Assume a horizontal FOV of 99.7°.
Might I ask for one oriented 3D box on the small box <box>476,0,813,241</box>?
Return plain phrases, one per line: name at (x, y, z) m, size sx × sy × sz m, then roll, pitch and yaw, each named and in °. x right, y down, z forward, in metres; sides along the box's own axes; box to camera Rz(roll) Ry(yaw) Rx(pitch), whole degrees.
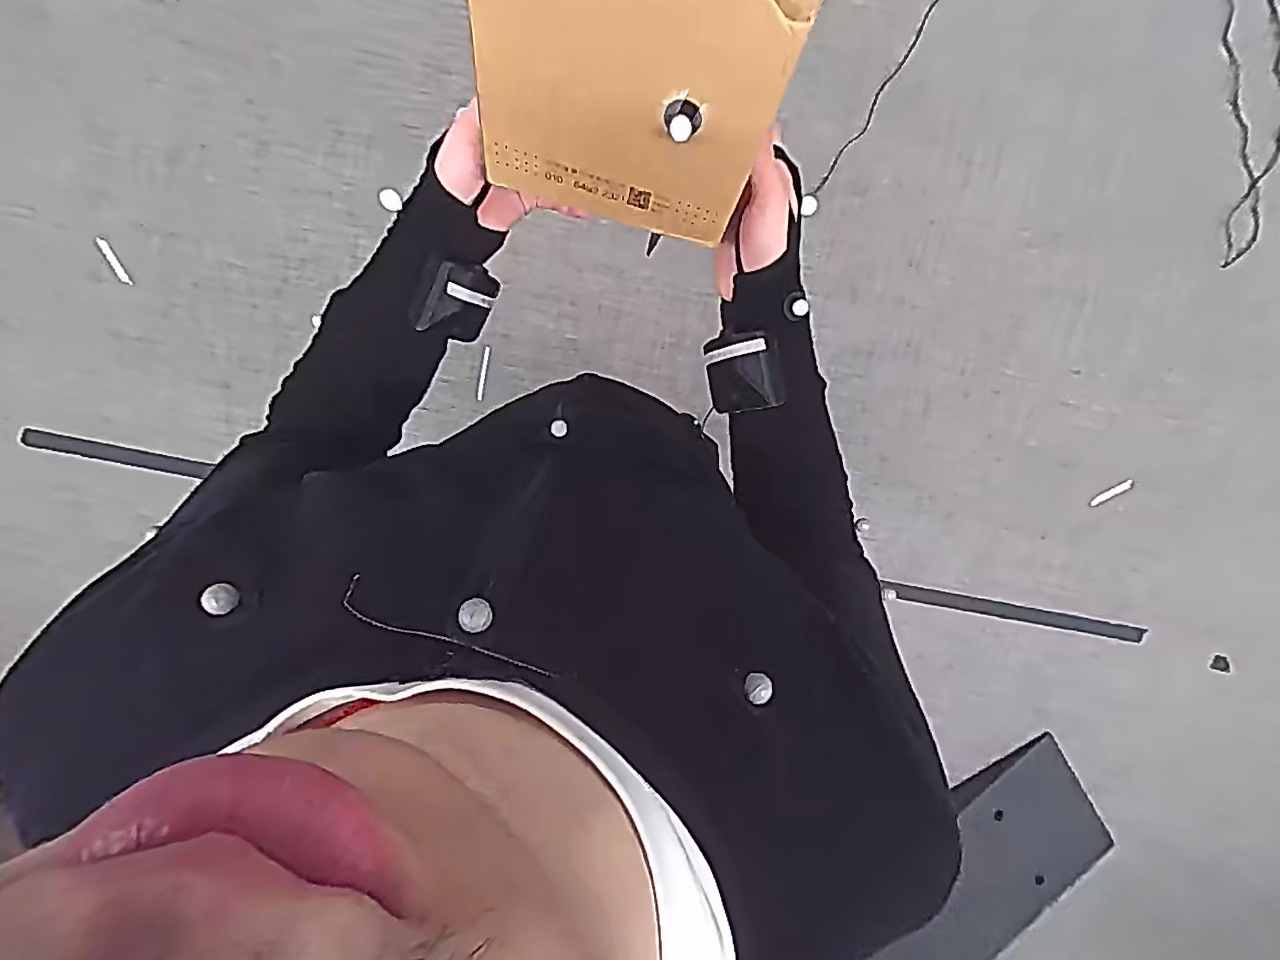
small box at (0.005, -0.288, 0.338) m, size 0.168 × 0.176 × 0.179 m, roll 15°, pitch 70°, yaw -7°
